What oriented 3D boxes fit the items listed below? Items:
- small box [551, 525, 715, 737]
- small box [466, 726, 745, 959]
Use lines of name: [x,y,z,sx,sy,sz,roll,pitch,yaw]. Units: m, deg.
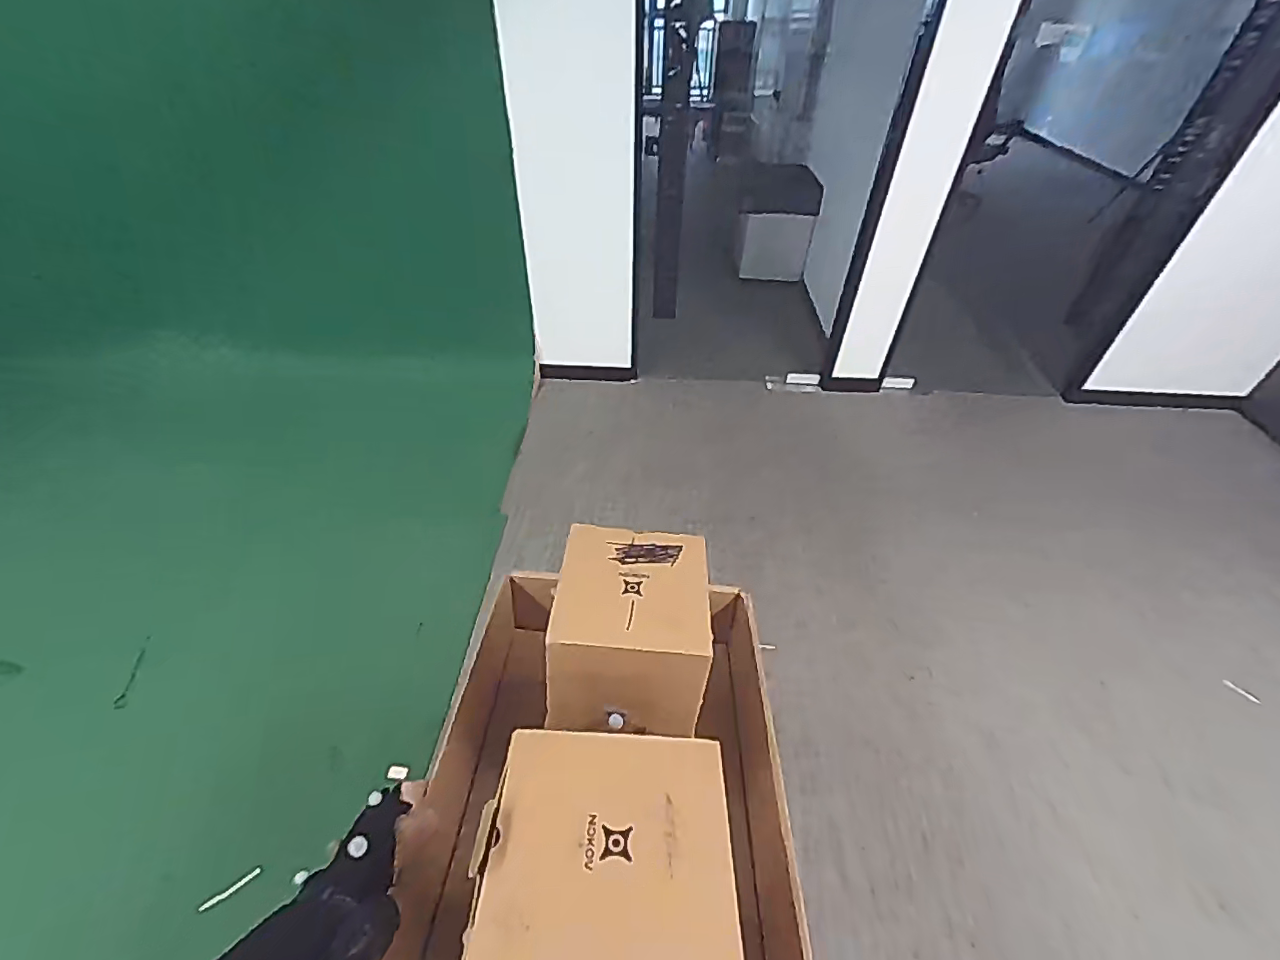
small box: [-0.009,0.179,0.641,0.168,0.176,0.179,6,36,0]
small box: [-0.025,0.326,0.435,0.179,0.176,0.168,5,34,-2]
